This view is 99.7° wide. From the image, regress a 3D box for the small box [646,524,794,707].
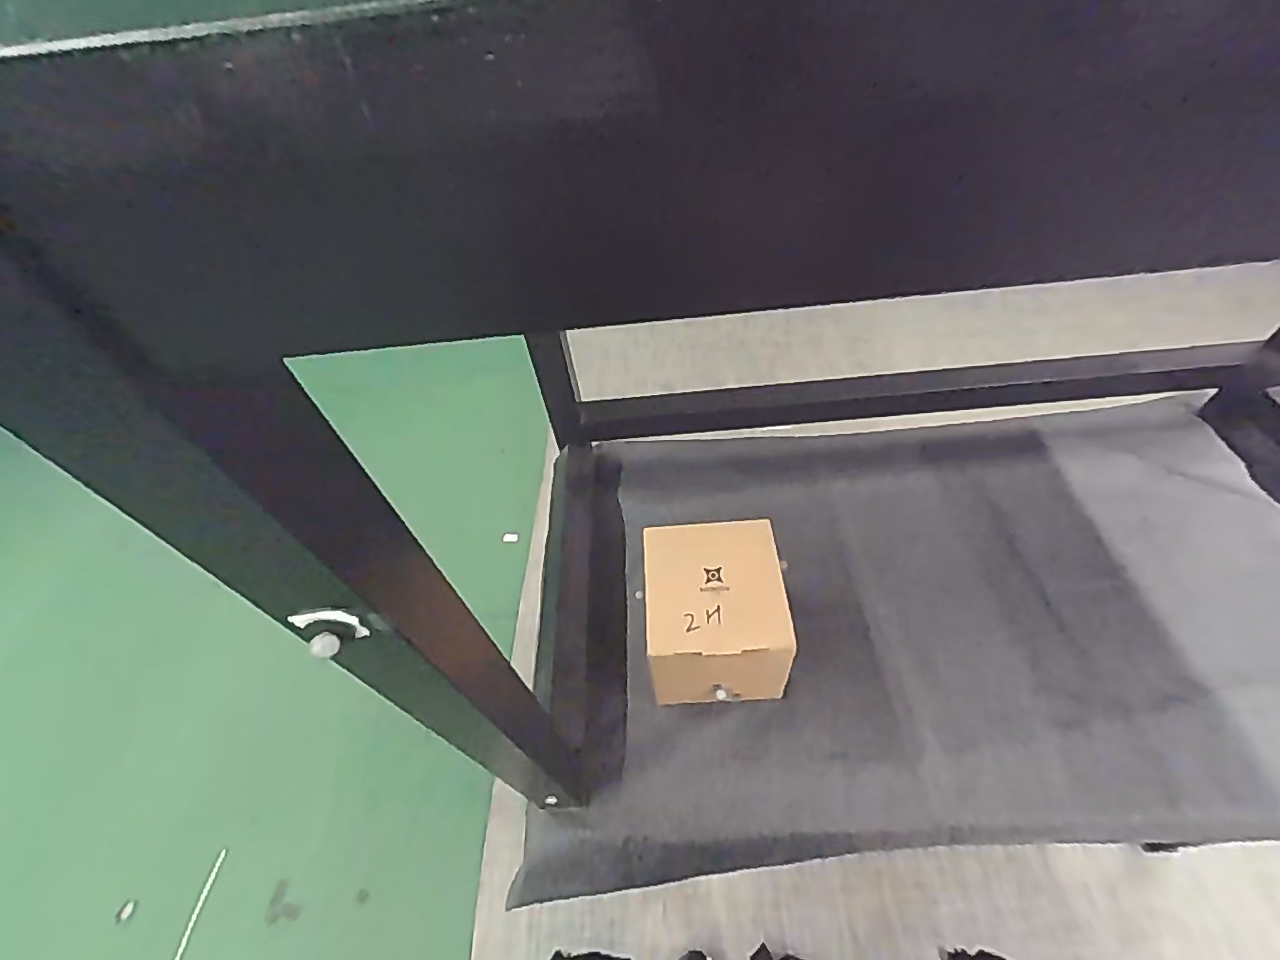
[{"bbox_3d":[0.095,0.179,0.710,0.168,0.176,0.179,-5,50,4],"label":"small box"}]
